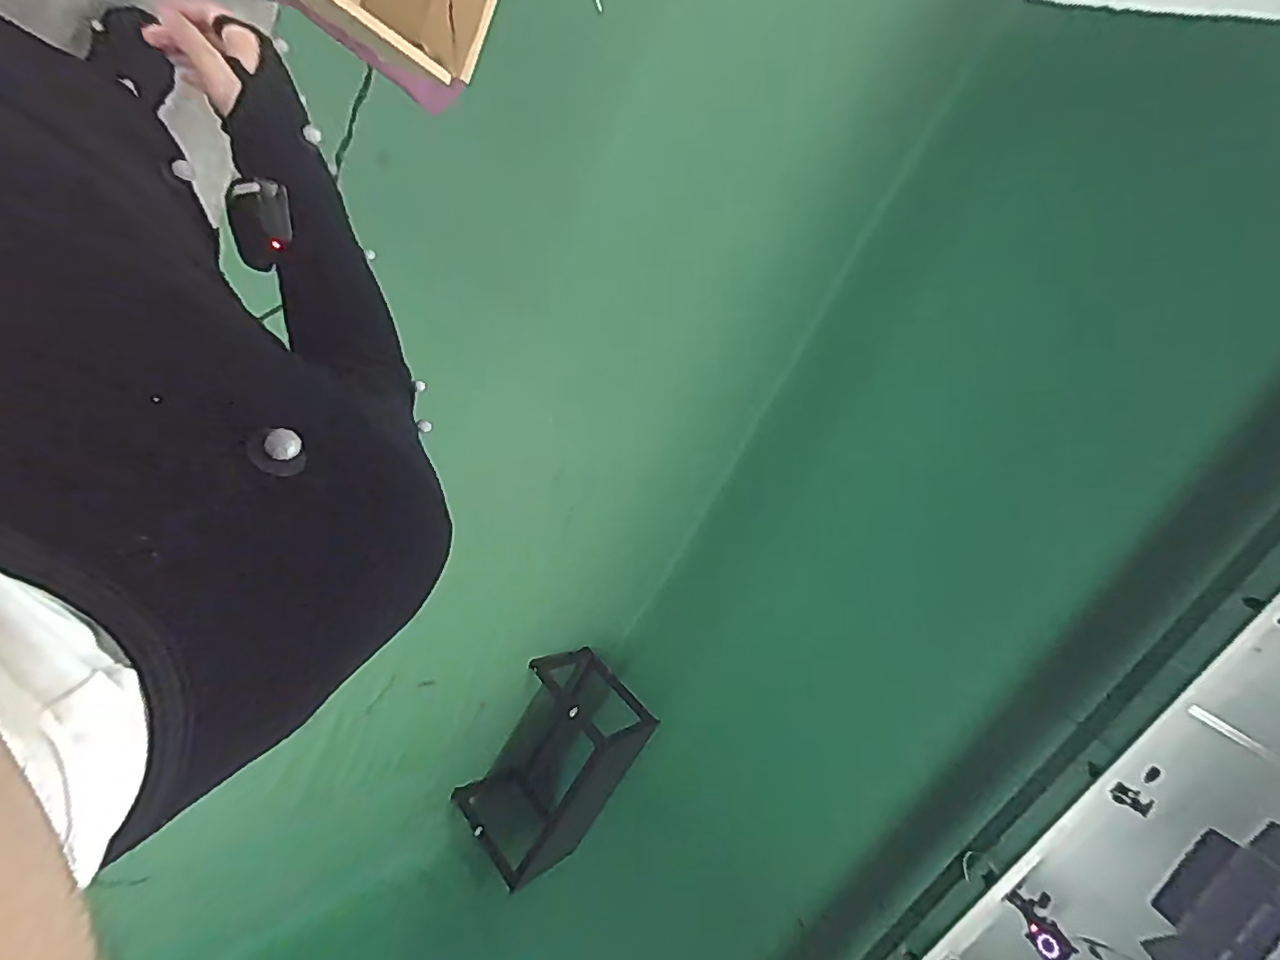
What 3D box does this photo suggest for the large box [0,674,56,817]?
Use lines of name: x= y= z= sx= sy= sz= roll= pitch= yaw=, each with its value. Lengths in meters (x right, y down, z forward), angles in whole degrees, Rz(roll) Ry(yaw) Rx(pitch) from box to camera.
large box: x=-1.758 y=0.692 z=1.277 sx=0.408 sy=0.320 sz=0.320 roll=-31 pitch=144 yaw=-33
